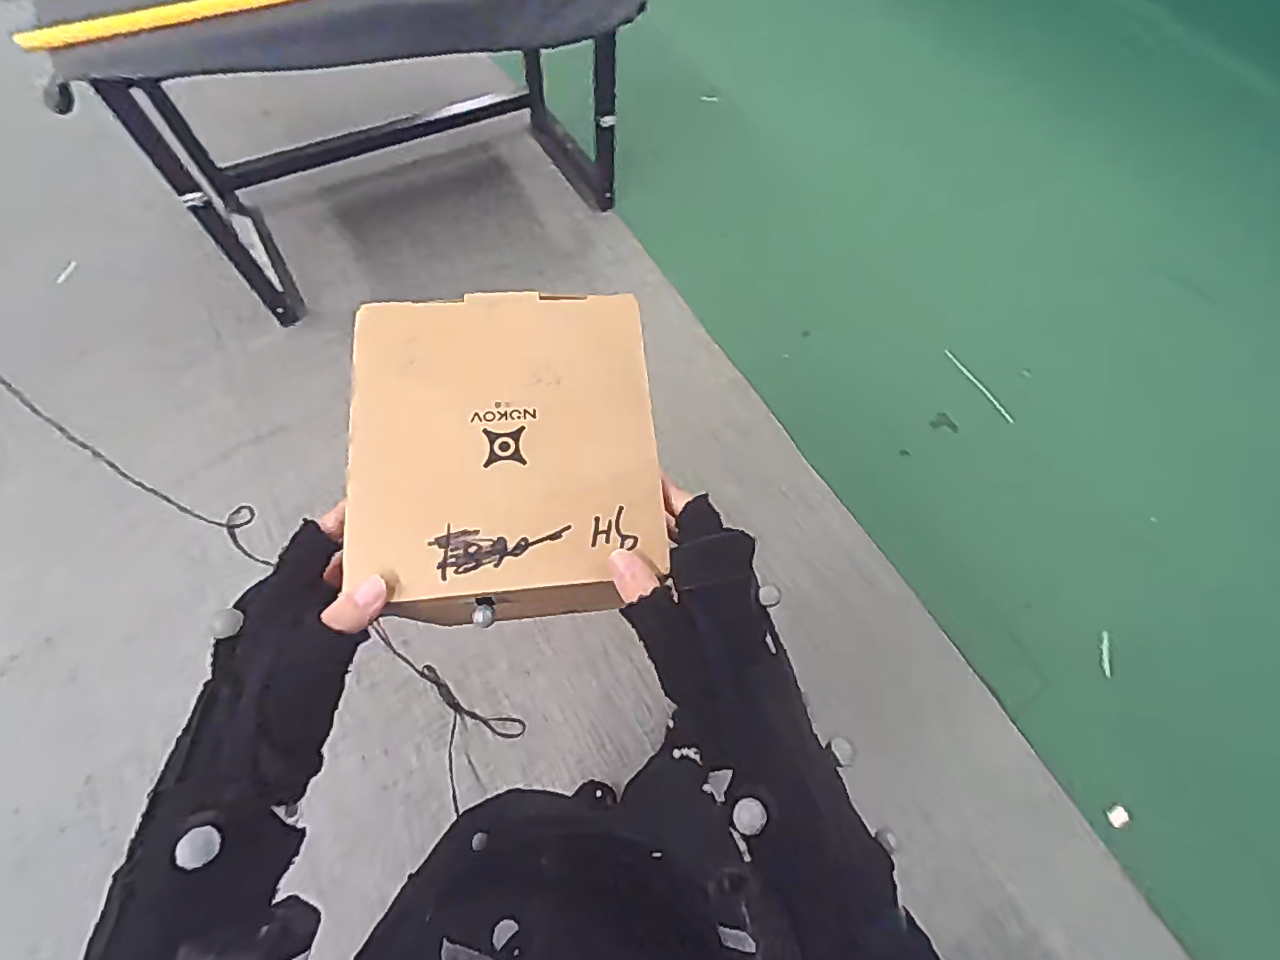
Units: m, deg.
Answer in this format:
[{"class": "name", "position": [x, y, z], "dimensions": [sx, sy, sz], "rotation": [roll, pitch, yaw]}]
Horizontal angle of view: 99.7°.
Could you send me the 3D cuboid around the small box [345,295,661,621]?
[{"class": "small box", "position": [-0.083, -0.004, 0.384], "dimensions": [0.168, 0.176, 0.179], "rotation": [-6, 71, -5]}]
